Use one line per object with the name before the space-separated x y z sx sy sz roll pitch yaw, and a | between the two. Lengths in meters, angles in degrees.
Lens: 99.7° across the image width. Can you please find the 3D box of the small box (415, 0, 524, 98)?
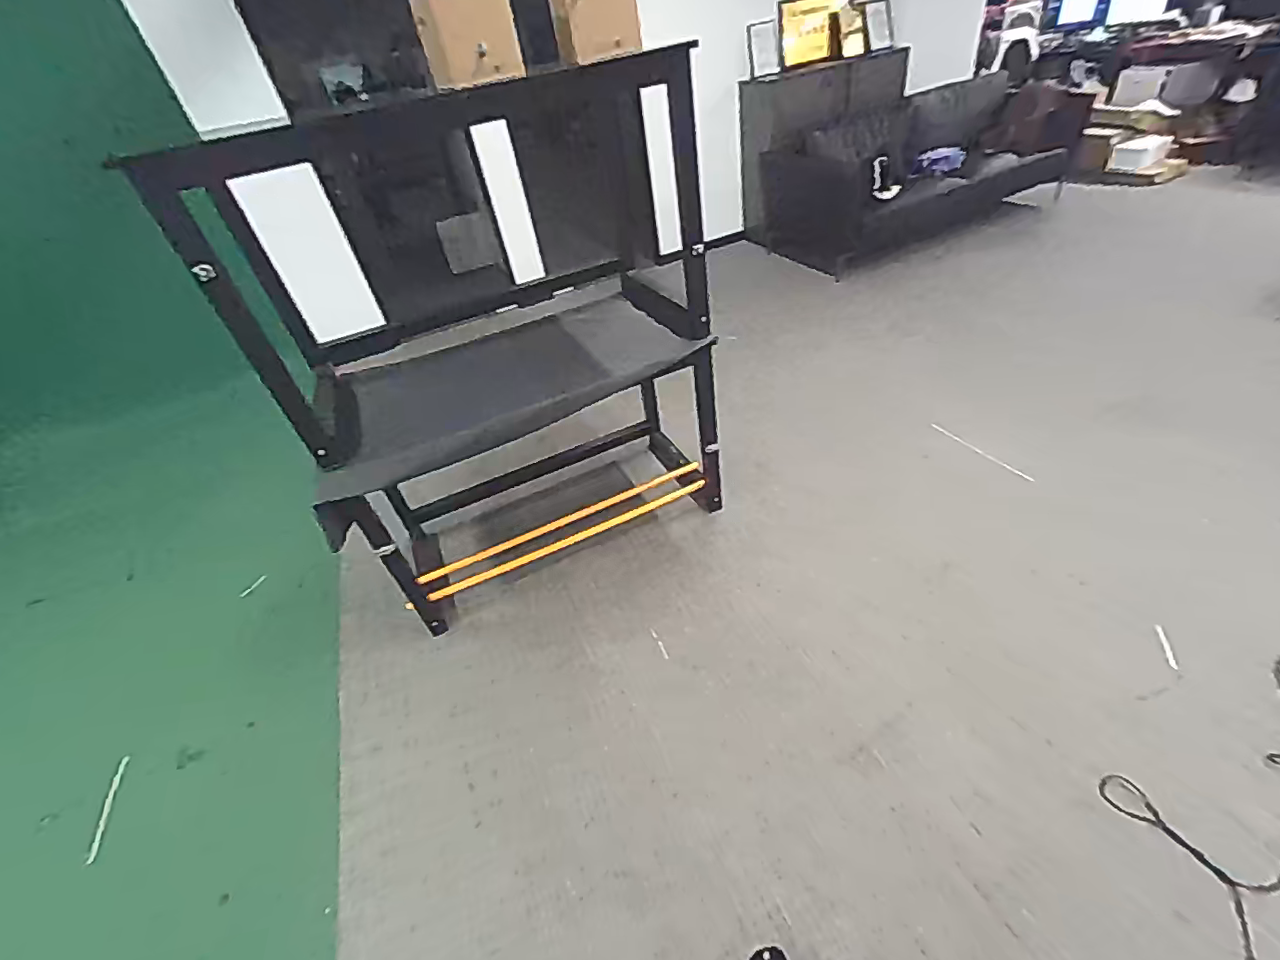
small box | -0.381 -0.974 1.216 0.168 0.176 0.179 -26 41 -17
